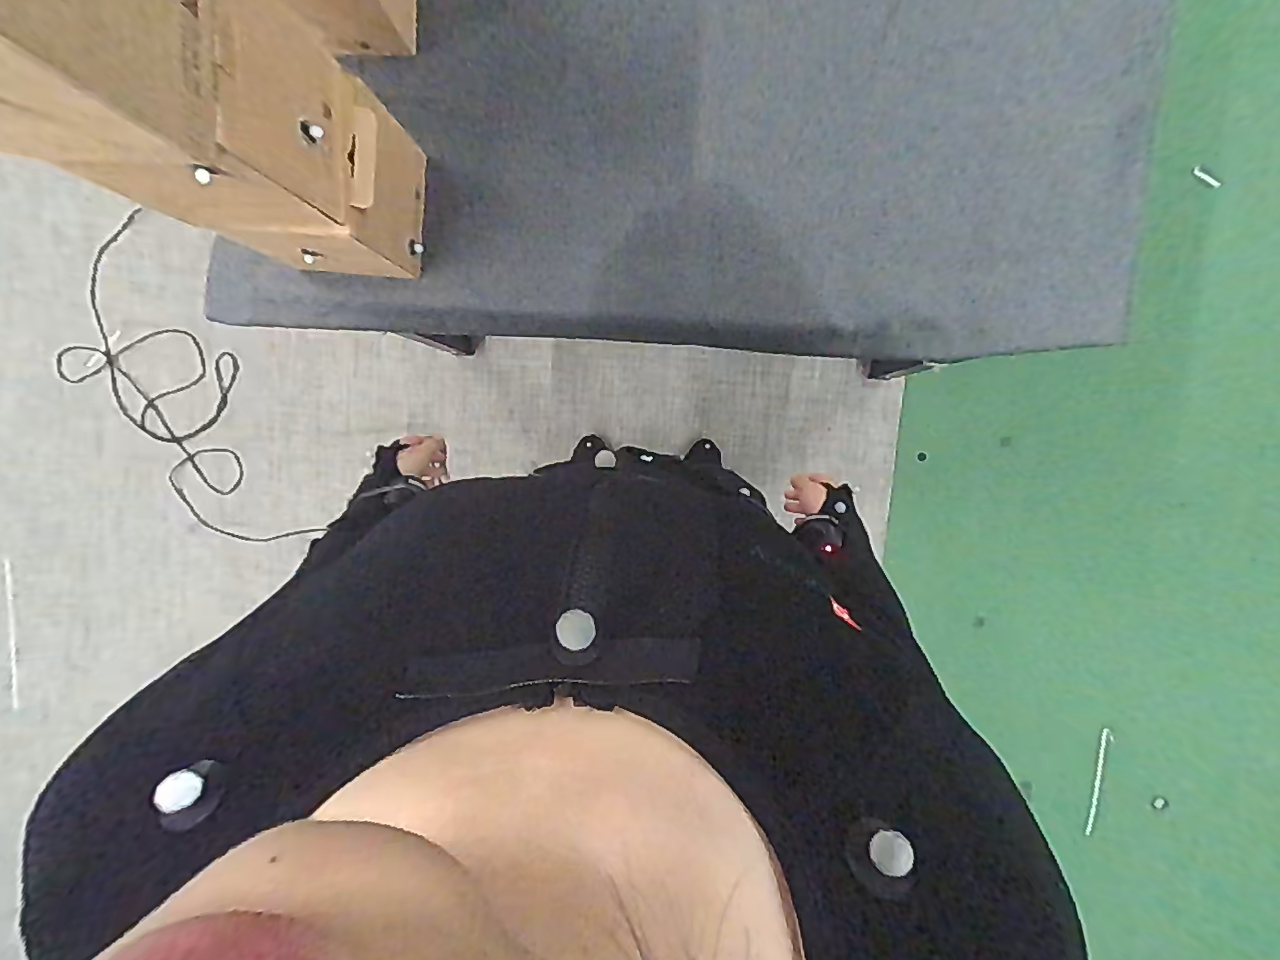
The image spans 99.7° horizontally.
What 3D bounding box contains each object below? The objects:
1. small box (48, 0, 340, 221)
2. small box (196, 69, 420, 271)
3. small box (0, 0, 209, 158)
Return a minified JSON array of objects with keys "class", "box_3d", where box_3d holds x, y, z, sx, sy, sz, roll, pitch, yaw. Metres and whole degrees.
[{"class":"small box","box_3d":[-0.406,-0.348,0.489,0.179,0.176,0.168,1,96,2]},{"class":"small box","box_3d":[-0.384,-0.360,0.650,0.179,0.176,0.168,5,96,2]},{"class":"small box","box_3d":[-0.412,-0.321,0.327,0.179,0.176,0.168,3,96,2]}]
